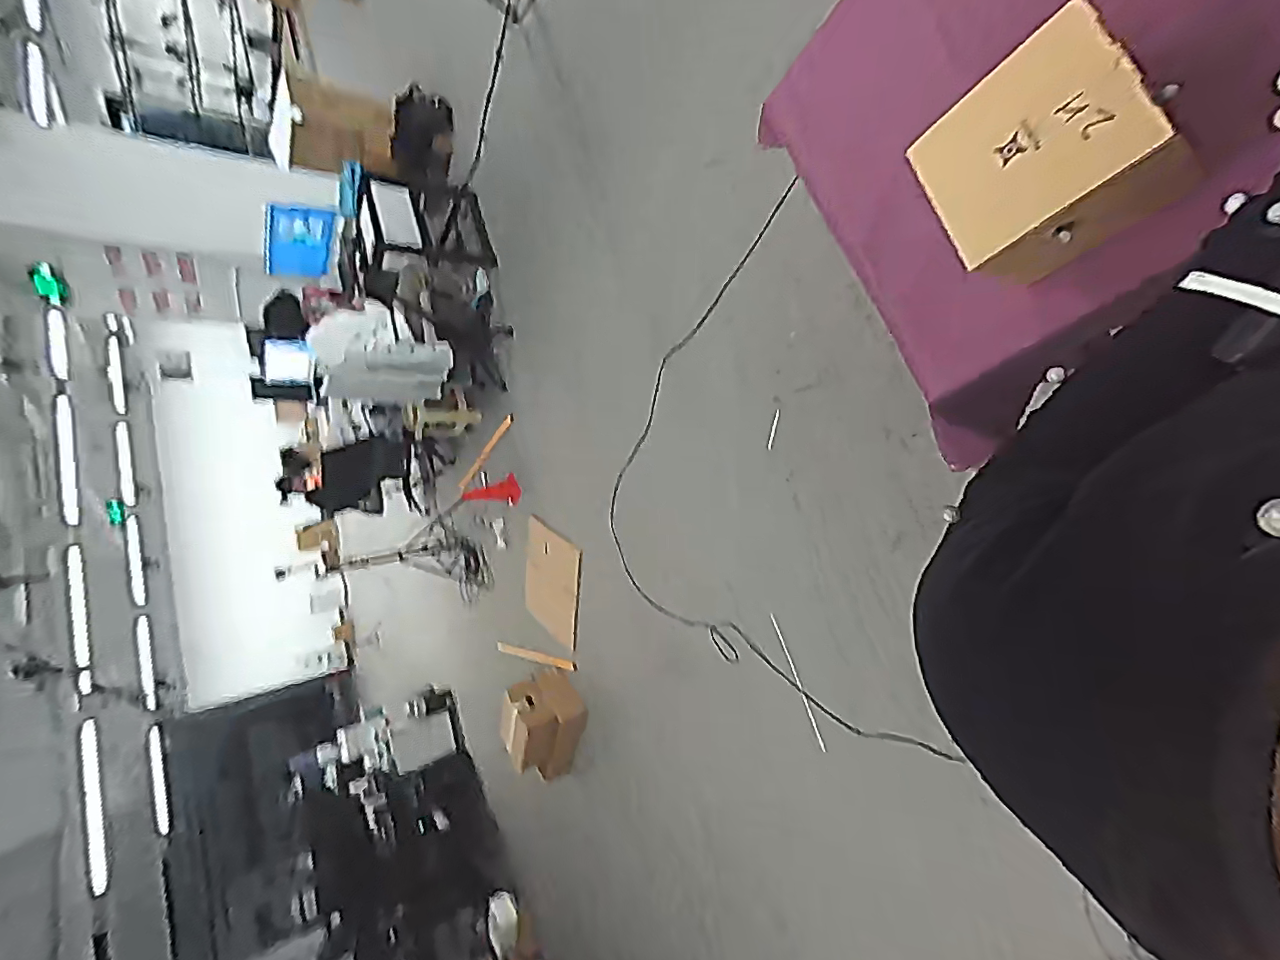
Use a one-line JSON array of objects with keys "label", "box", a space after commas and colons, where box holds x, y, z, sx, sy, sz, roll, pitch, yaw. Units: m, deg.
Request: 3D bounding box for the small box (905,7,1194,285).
[{"label": "small box", "box": [0.436, -0.334, 0.585, 0.179, 0.176, 0.168, -34, 70, 50]}]
